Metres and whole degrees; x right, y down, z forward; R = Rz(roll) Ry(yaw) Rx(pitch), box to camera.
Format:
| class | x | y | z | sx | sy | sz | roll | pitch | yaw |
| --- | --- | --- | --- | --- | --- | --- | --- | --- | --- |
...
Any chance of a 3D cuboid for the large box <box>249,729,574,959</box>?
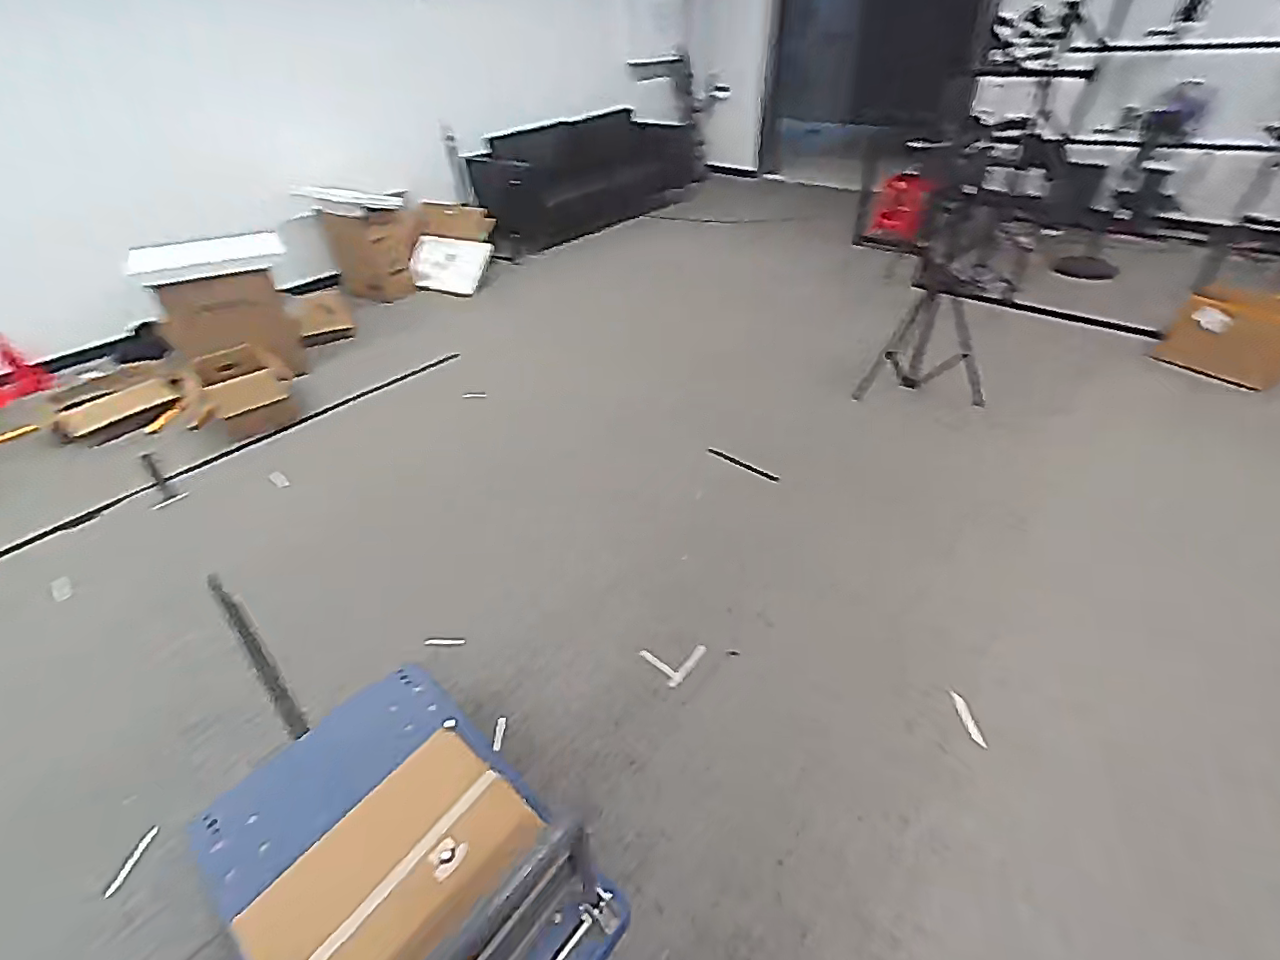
| class | x | y | z | sx | sy | sz | roll | pitch | yaw |
| --- | --- | --- | --- | --- | --- | --- | --- | --- | --- |
| large box | -0.377 | 0.773 | 0.986 | 0.320 | 0.320 | 0.408 | 26 | 46 | 30 |
